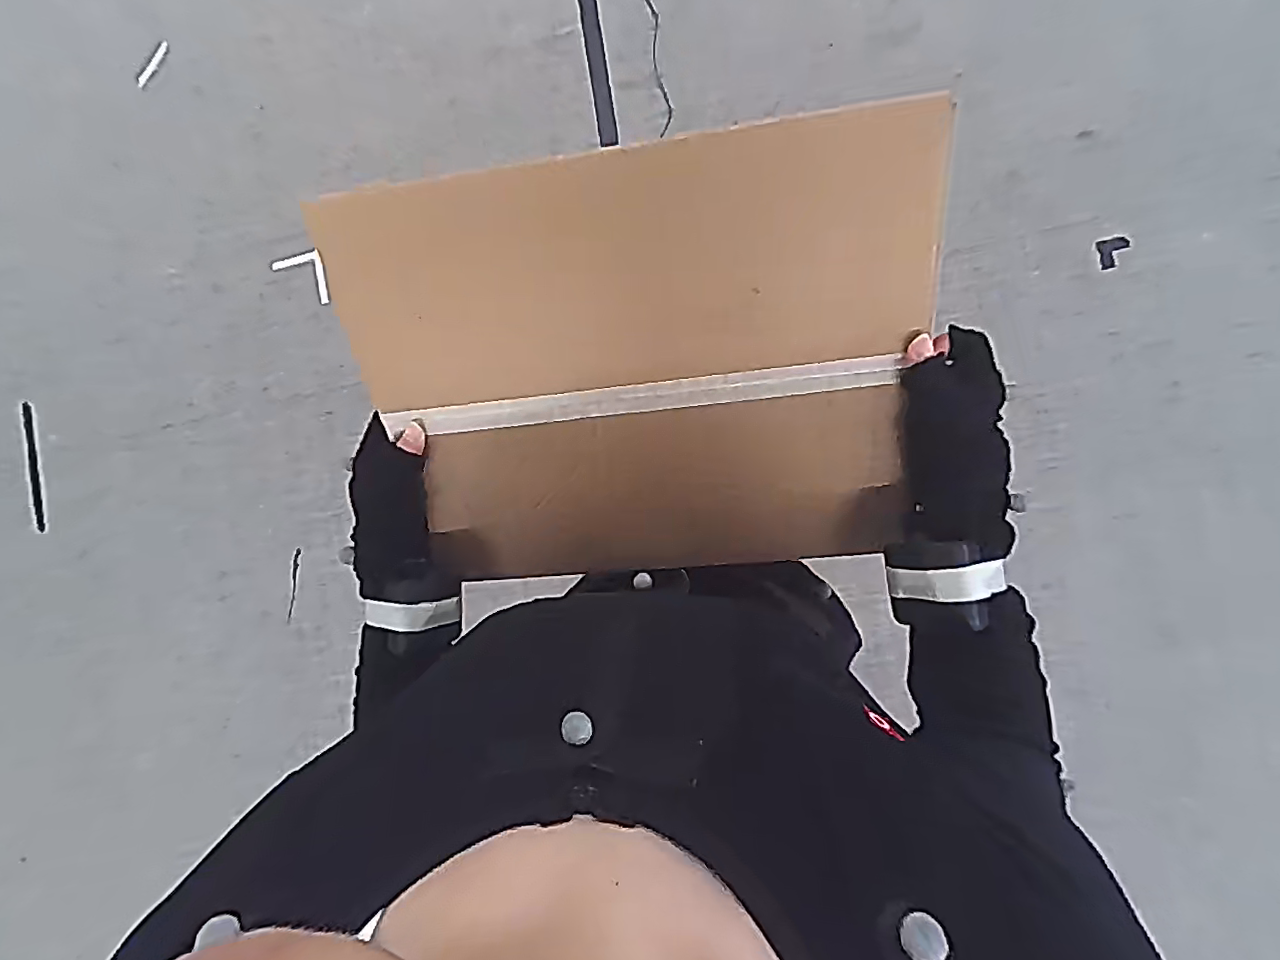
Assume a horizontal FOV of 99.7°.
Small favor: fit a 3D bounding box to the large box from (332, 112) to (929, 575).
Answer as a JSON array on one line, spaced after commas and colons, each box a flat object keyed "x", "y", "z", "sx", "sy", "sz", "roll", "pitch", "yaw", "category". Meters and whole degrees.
[{"x": 0.014, "y": -0.135, "z": 0.545, "sx": 0.408, "sy": 0.320, "sz": 0.320, "roll": -6, "pitch": 117, "yaw": 8, "category": "large box"}]
